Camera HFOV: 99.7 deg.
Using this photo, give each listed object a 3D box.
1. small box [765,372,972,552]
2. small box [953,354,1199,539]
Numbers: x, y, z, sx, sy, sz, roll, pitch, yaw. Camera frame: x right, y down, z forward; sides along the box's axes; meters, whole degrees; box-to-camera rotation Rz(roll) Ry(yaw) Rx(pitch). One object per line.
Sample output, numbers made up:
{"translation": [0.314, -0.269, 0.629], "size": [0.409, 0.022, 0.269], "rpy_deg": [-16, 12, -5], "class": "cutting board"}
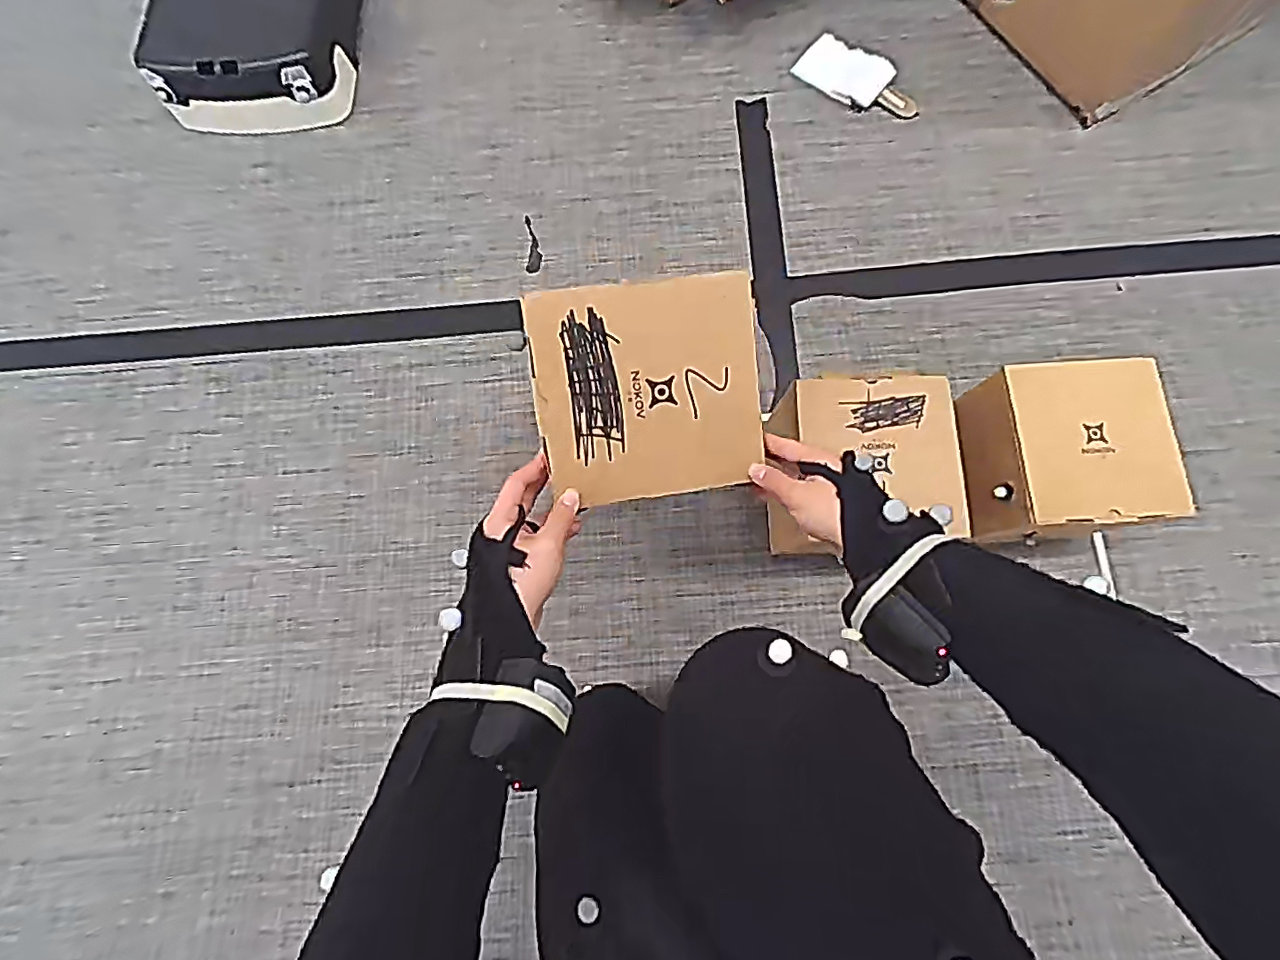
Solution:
{"translation": [0.248, -0.012, 0.633], "size": [0.168, 0.176, 0.179], "rpy_deg": [-1, 78, 1], "class": "small box"}
{"translation": [0.474, -0.030, 0.637], "size": [0.168, 0.176, 0.179], "rpy_deg": [-3, 78, 0], "class": "small box"}
